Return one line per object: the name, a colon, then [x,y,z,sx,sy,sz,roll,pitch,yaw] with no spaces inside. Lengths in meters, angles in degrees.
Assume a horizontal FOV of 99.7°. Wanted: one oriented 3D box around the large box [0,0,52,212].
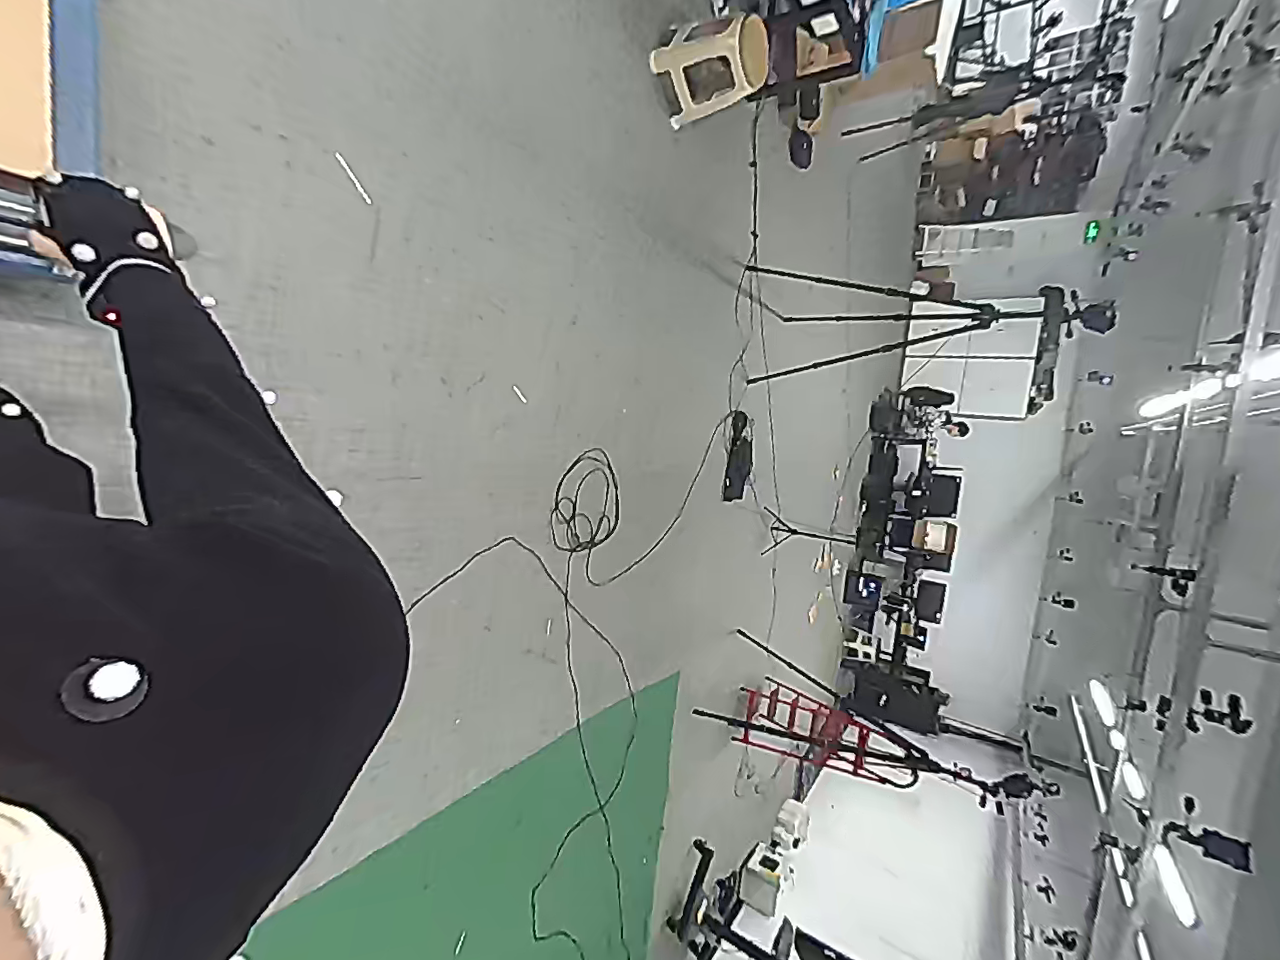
large box: [-1.041,-0.630,0.710,0.320,0.320,0.408,-6,101,-56]
